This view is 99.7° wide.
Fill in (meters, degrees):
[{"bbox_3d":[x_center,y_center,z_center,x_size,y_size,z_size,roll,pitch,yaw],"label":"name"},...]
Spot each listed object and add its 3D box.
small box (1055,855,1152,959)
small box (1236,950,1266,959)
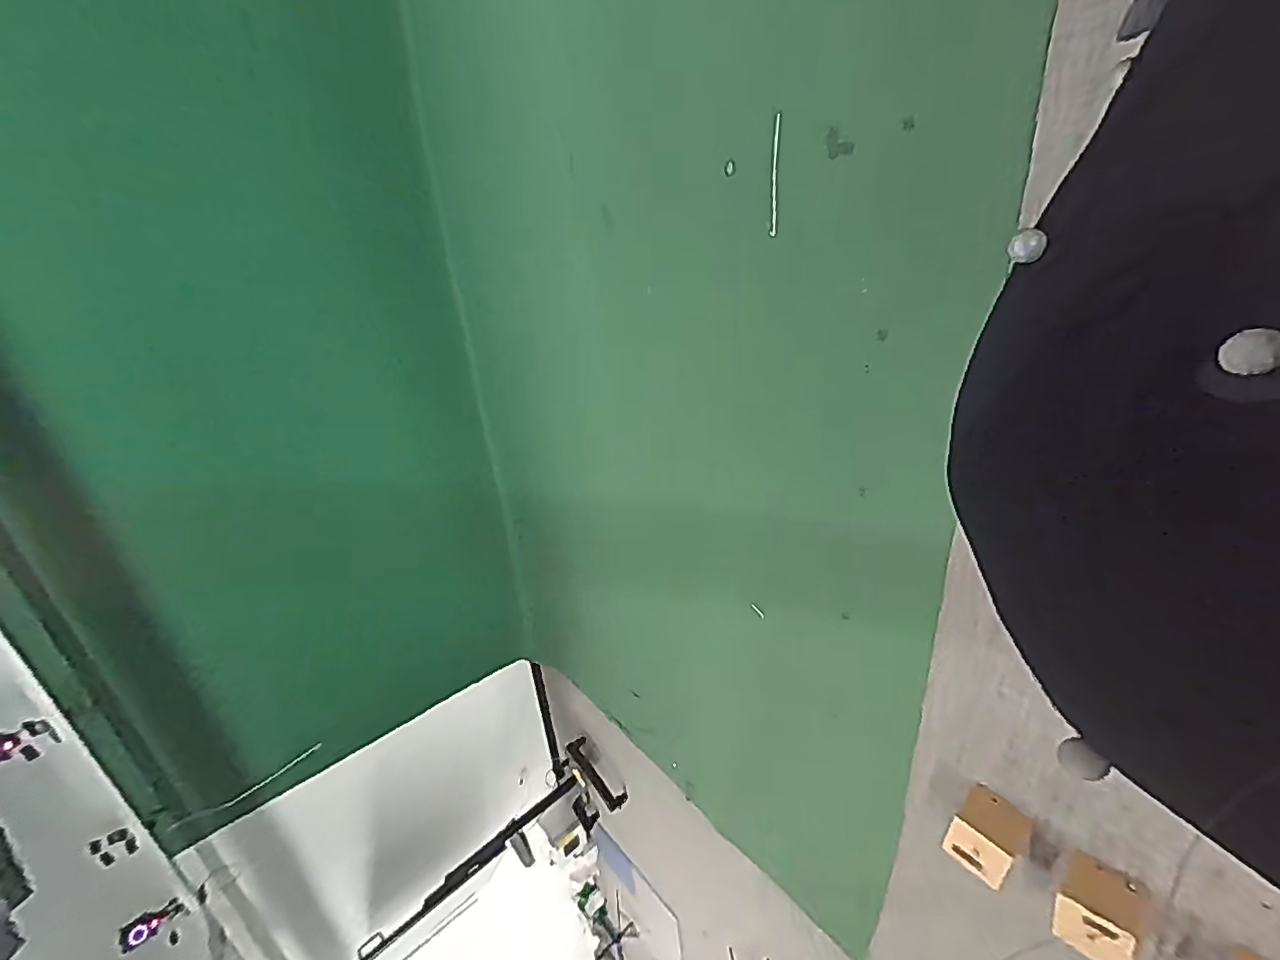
[{"bbox_3d":[1.265,1.185,1.476,0.168,0.176,0.179,13,120,50],"label":"small box"},{"bbox_3d":[1.468,1.259,1.243,0.168,0.176,0.179,18,122,47],"label":"small box"}]
